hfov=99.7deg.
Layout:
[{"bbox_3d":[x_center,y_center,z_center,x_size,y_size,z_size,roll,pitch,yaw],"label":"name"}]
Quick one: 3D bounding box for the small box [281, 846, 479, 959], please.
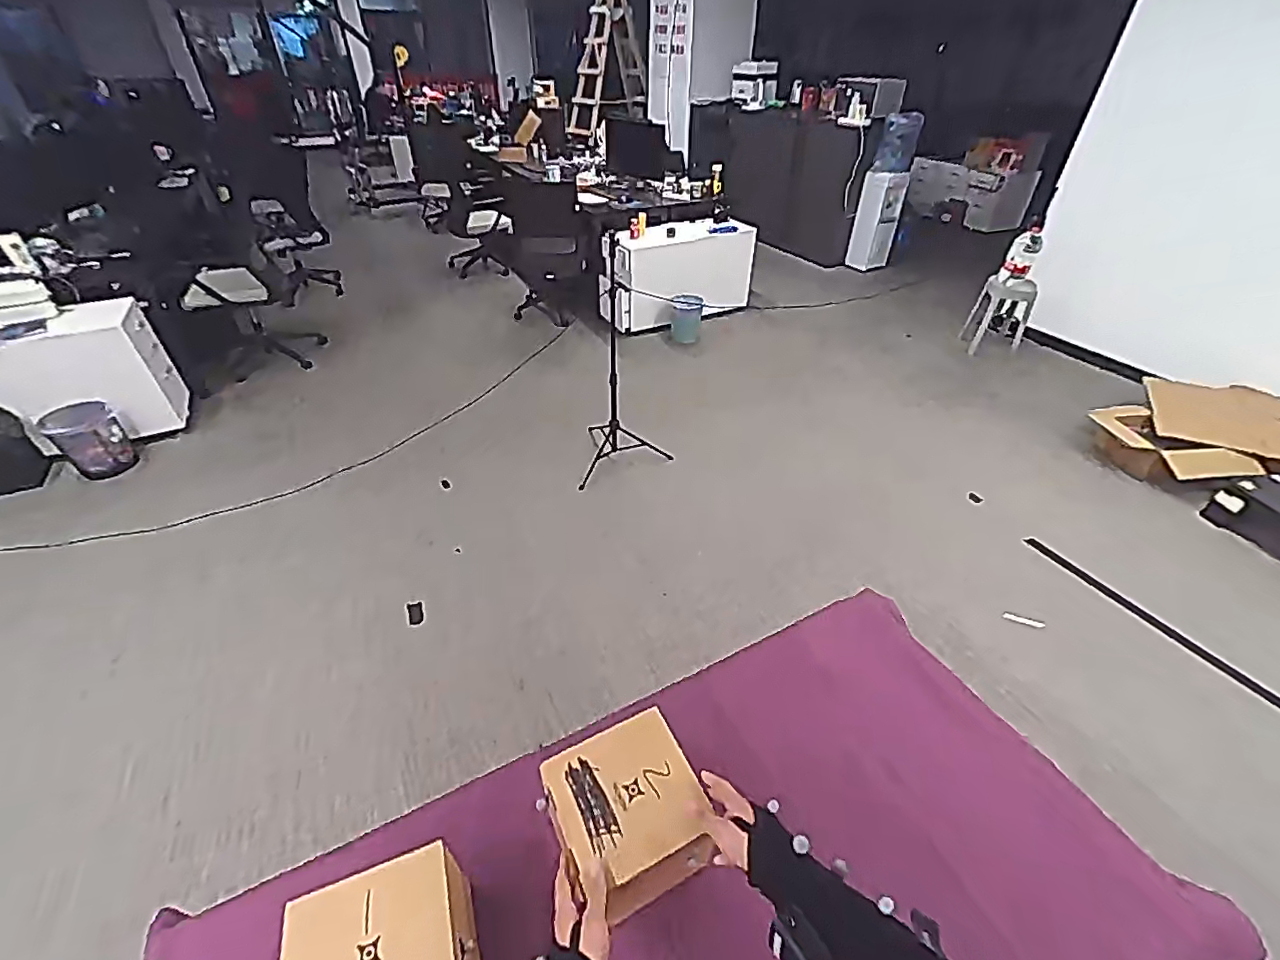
[{"bbox_3d":[-0.271,0.551,0.590,0.168,0.176,0.179,-14,41,-18],"label":"small box"}]
